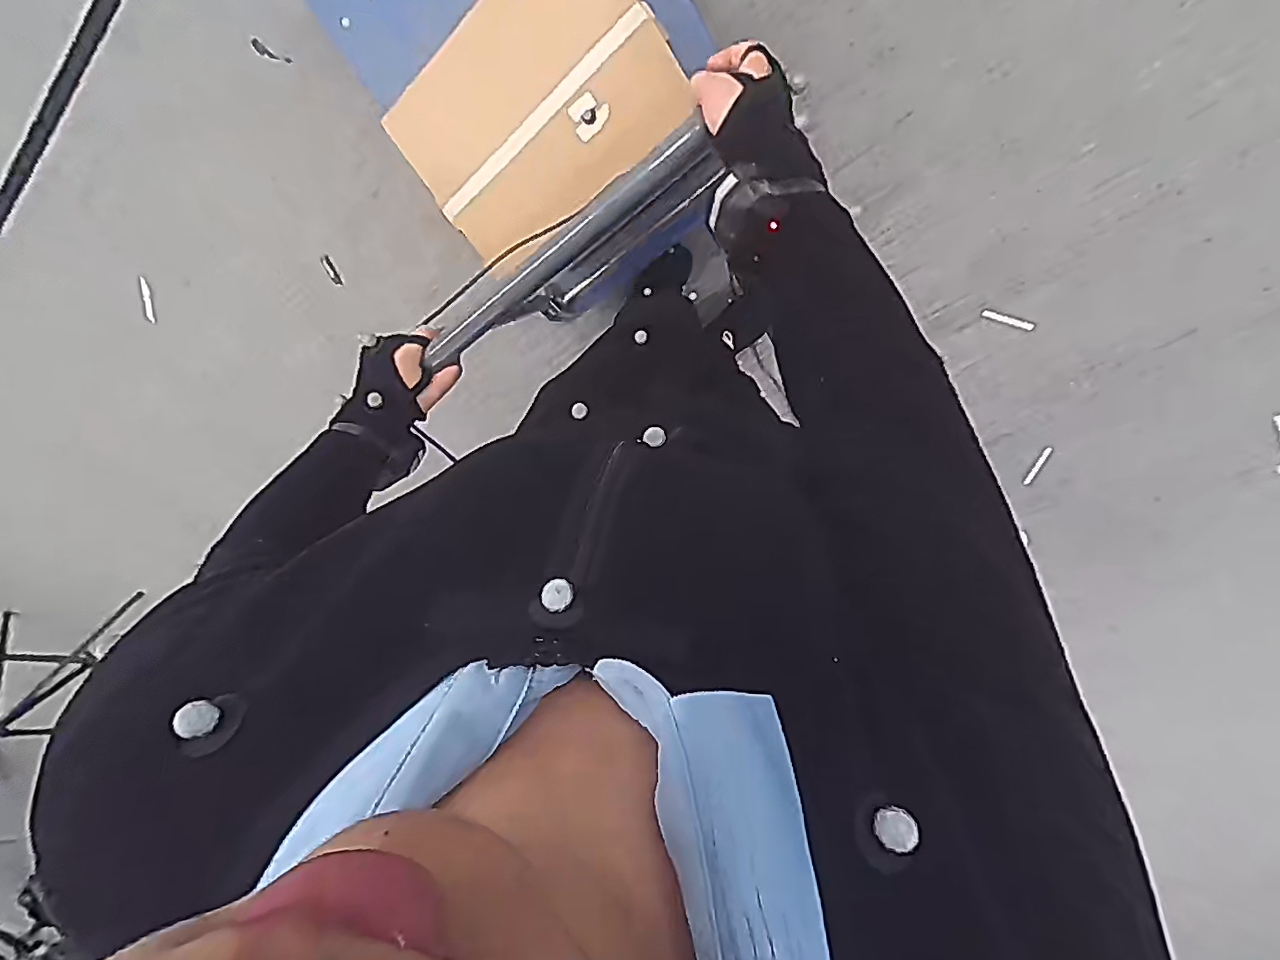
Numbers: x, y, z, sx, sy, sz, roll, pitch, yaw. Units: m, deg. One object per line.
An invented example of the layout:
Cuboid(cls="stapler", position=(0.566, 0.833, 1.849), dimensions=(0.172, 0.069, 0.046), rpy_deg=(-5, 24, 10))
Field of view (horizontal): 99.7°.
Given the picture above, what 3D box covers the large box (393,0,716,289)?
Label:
Cuboid(cls="large box", position=(-0.121, -0.595, 0.935), dimensions=(0.408, 0.320, 0.320), rpy_deg=(-32, 108, 23))
